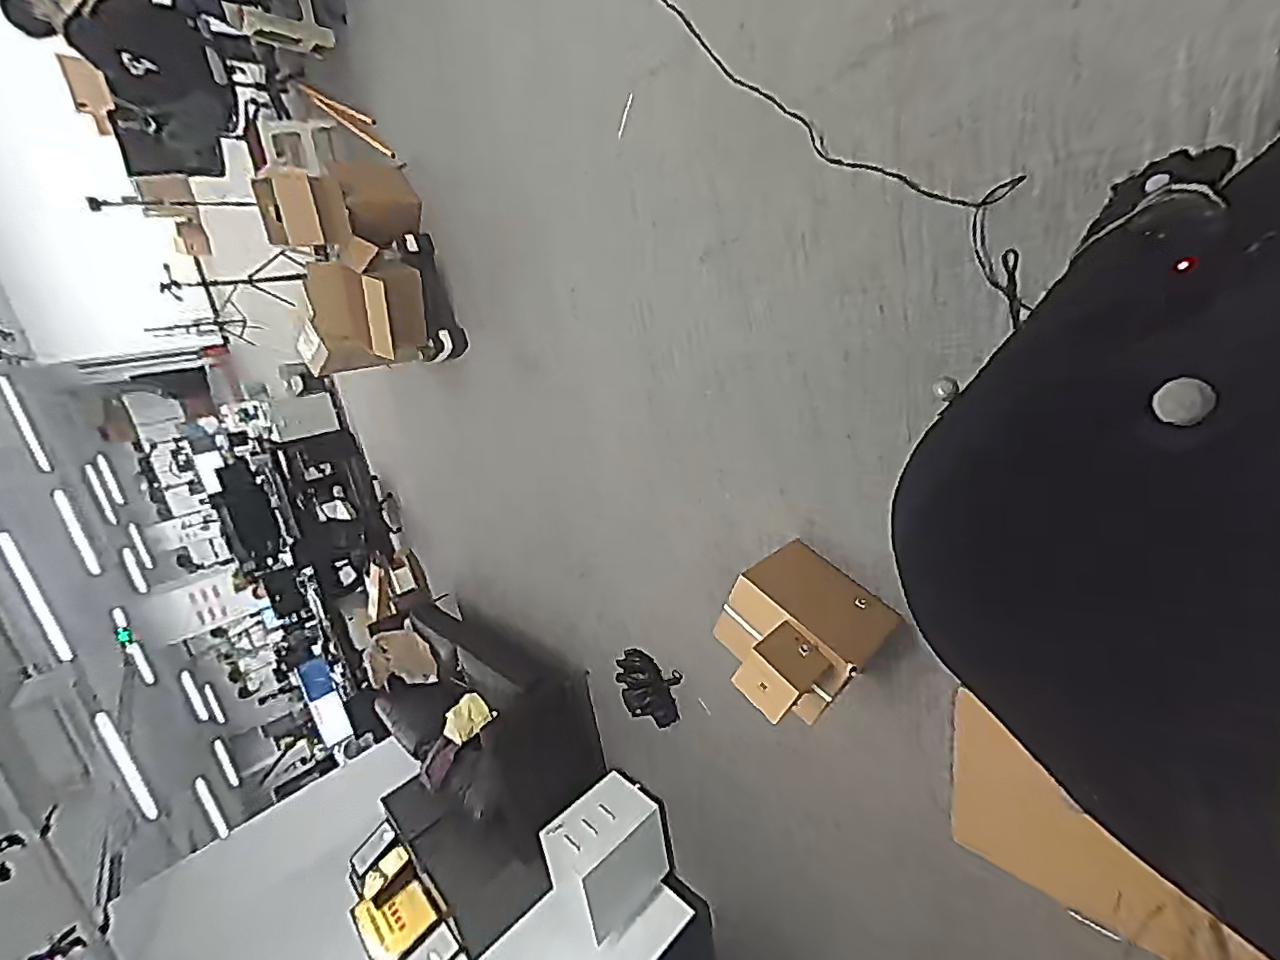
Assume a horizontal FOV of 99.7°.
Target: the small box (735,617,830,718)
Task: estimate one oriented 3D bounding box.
[{"bbox_3d":[0.404,0.526,1.528,0.168,0.176,0.179,41,133,29],"label":"small box"}]
